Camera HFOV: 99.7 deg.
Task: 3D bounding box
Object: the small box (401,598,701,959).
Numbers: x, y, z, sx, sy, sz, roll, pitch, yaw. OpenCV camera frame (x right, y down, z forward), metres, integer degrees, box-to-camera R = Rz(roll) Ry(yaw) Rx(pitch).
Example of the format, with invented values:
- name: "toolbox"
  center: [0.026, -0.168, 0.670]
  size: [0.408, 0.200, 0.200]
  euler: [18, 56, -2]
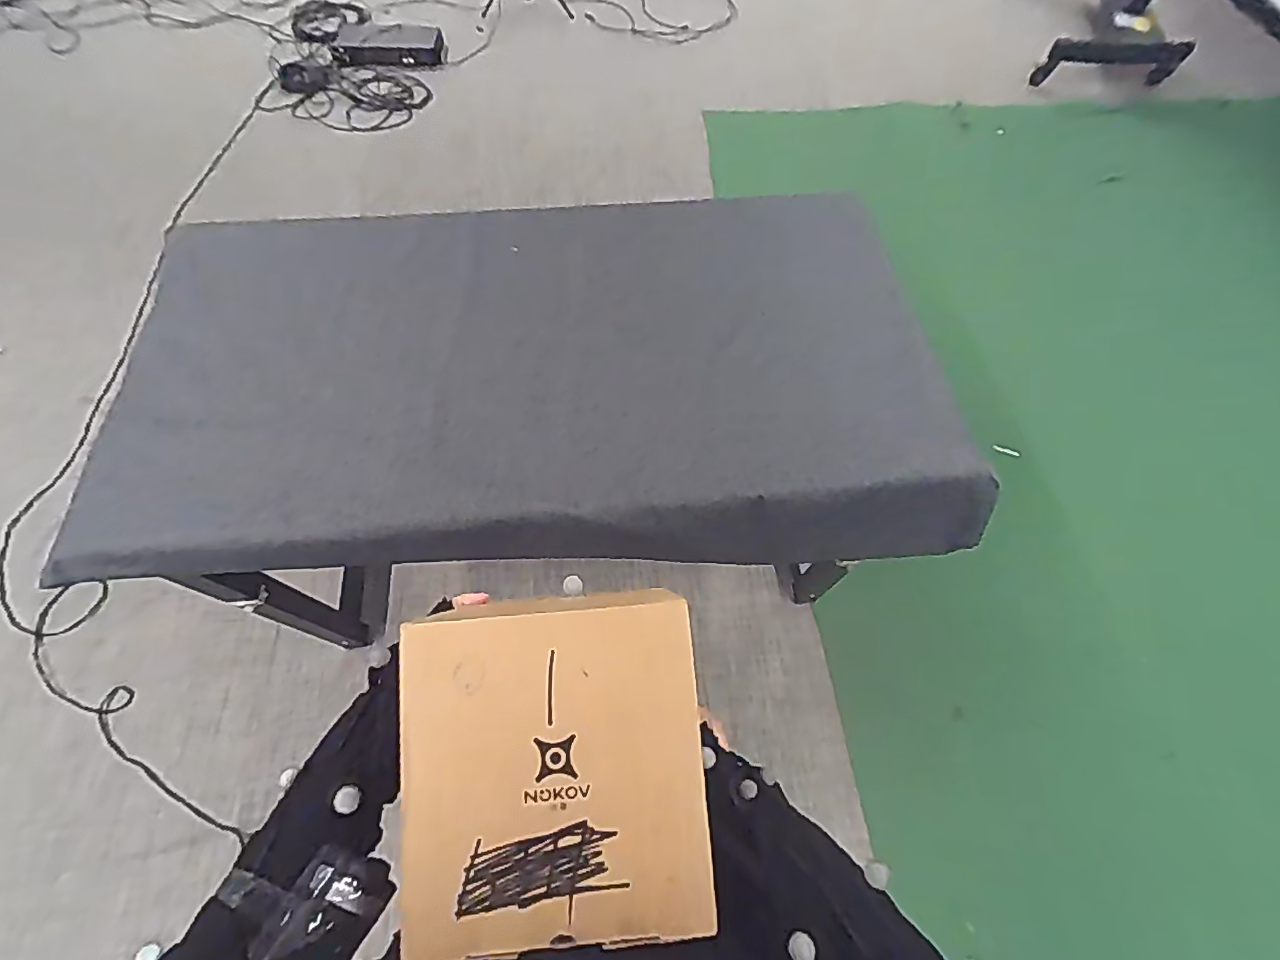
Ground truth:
- name: "small box"
  center: [-0.053, 0.180, 0.383]
  size: [0.168, 0.176, 0.179]
  euler: [-3, 80, -3]
